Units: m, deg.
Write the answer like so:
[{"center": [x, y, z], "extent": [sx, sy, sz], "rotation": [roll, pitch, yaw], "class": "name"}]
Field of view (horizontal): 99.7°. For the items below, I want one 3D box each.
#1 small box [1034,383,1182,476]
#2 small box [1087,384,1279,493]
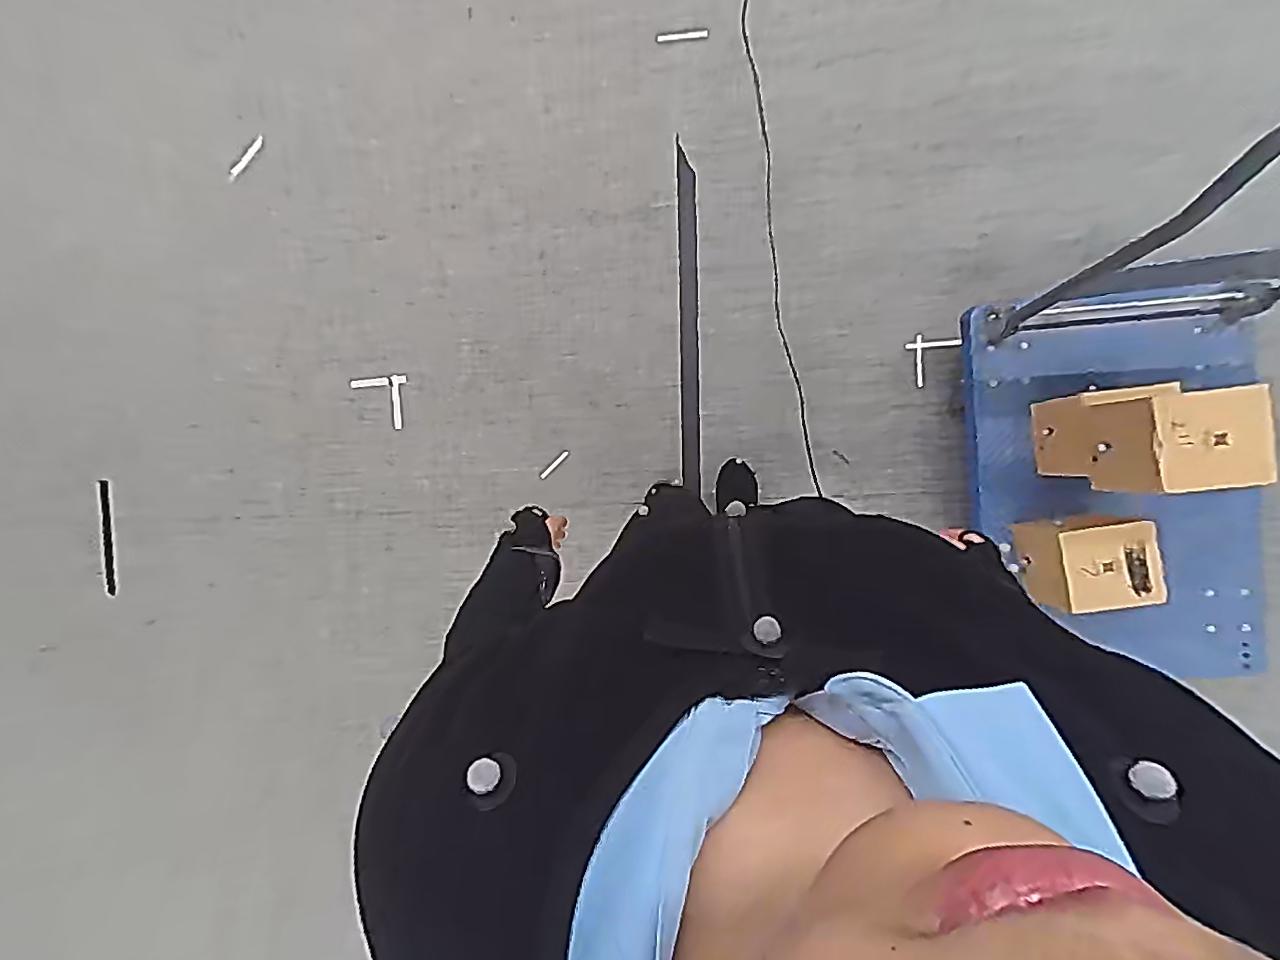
[{"center": [0.971, -0.102, 1.128], "extent": [0.179, 0.176, 0.168], "rotation": [-7, 91, 7], "class": "small box"}, {"center": [0.954, -0.071, 0.965], "extent": [0.179, 0.176, 0.168], "rotation": [-6, 91, 7], "class": "small box"}]
